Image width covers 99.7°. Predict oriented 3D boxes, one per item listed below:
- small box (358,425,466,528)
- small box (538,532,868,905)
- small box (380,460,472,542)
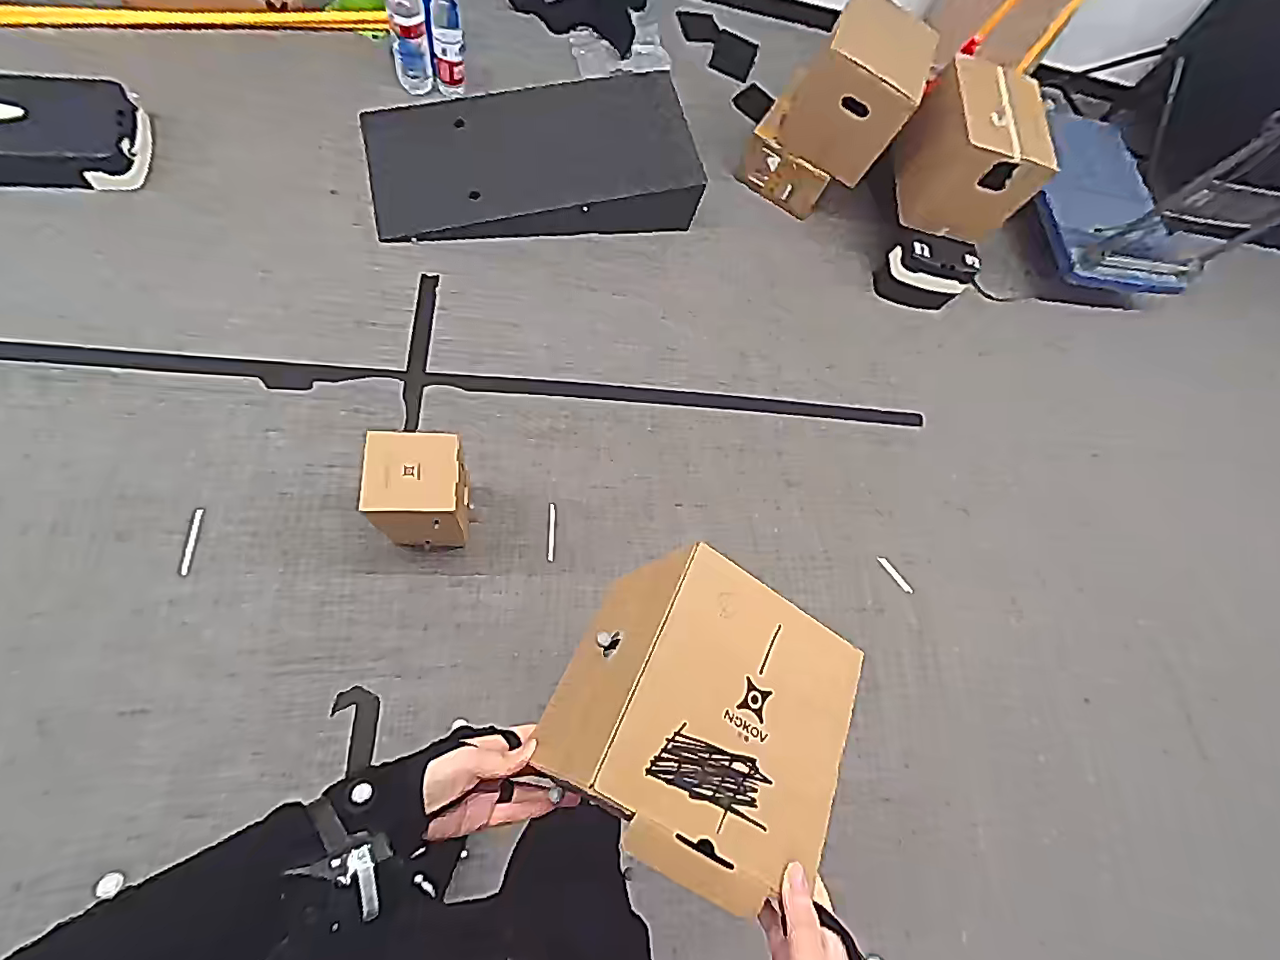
[{"bbox_3d":[-0.457,-0.001,1.116,0.179,0.176,0.168,2,71,-13],"label":"small box"},{"bbox_3d":[0.039,0.173,0.420,0.168,0.176,0.179,35,58,-11],"label":"small box"},{"bbox_3d":[-0.493,0.048,1.268,0.179,0.176,0.168,4,71,-13],"label":"small box"}]
